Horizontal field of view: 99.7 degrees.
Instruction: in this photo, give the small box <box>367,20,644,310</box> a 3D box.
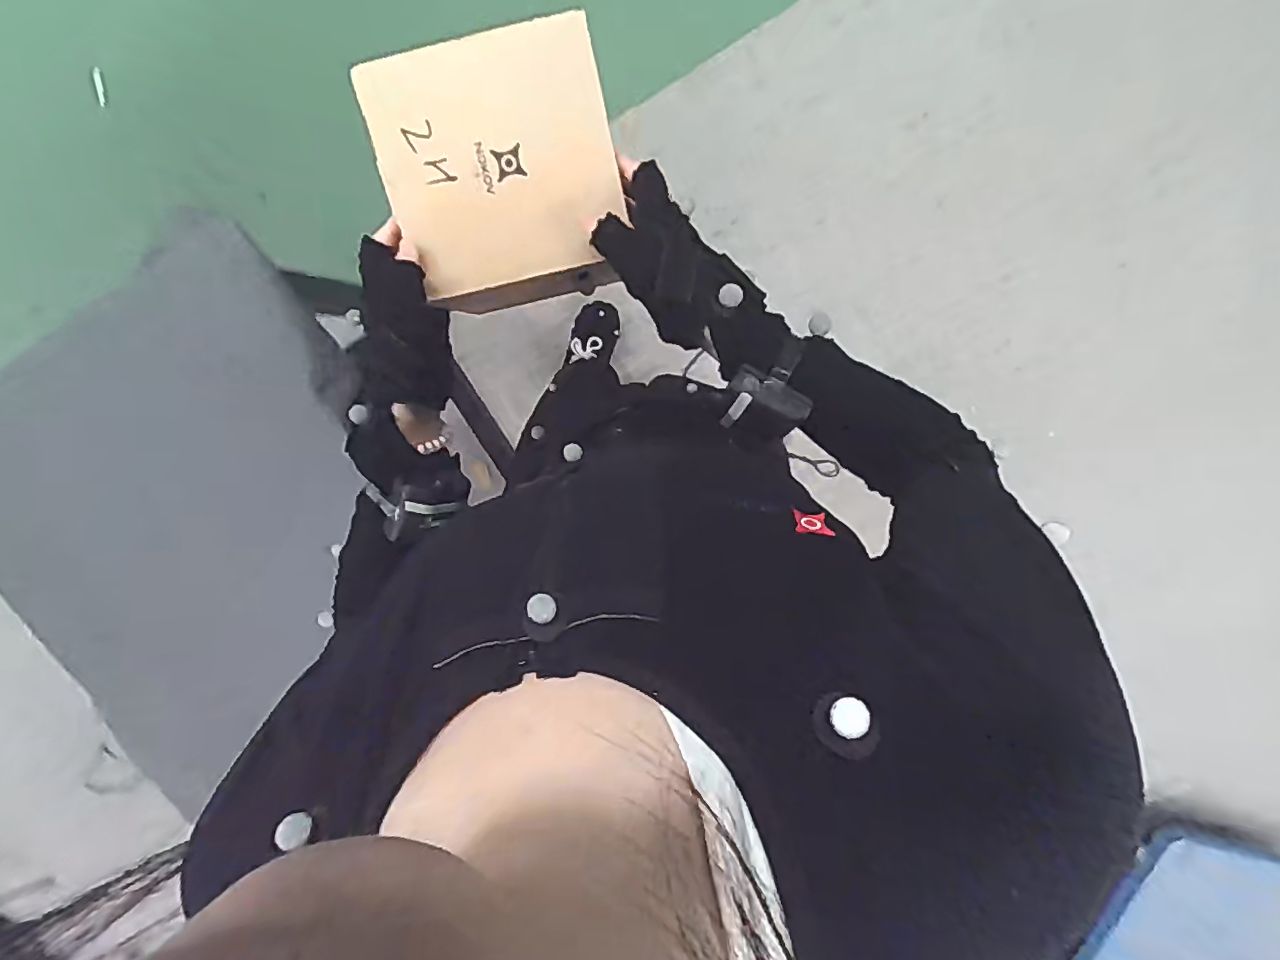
[{"bbox_3d":[-0.099,-0.254,0.481,0.179,0.176,0.168,-11,104,1],"label":"small box"}]
